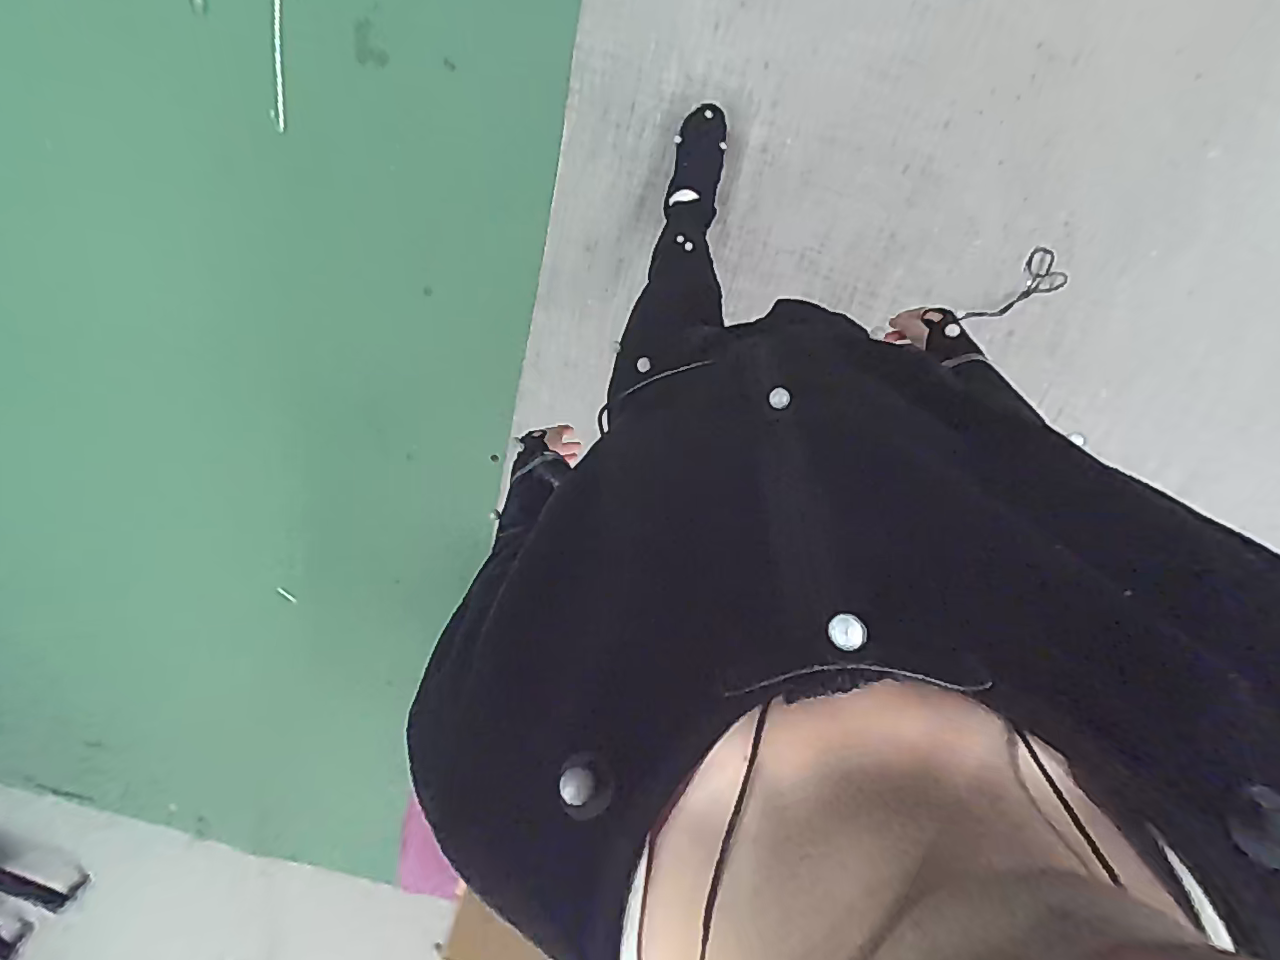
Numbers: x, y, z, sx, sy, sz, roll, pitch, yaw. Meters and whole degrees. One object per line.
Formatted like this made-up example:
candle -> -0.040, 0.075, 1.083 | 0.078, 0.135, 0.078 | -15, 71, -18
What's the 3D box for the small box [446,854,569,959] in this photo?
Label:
small box -> -0.224, 0.764, 0.896 | 0.168, 0.176, 0.179 | 19, 116, -4
